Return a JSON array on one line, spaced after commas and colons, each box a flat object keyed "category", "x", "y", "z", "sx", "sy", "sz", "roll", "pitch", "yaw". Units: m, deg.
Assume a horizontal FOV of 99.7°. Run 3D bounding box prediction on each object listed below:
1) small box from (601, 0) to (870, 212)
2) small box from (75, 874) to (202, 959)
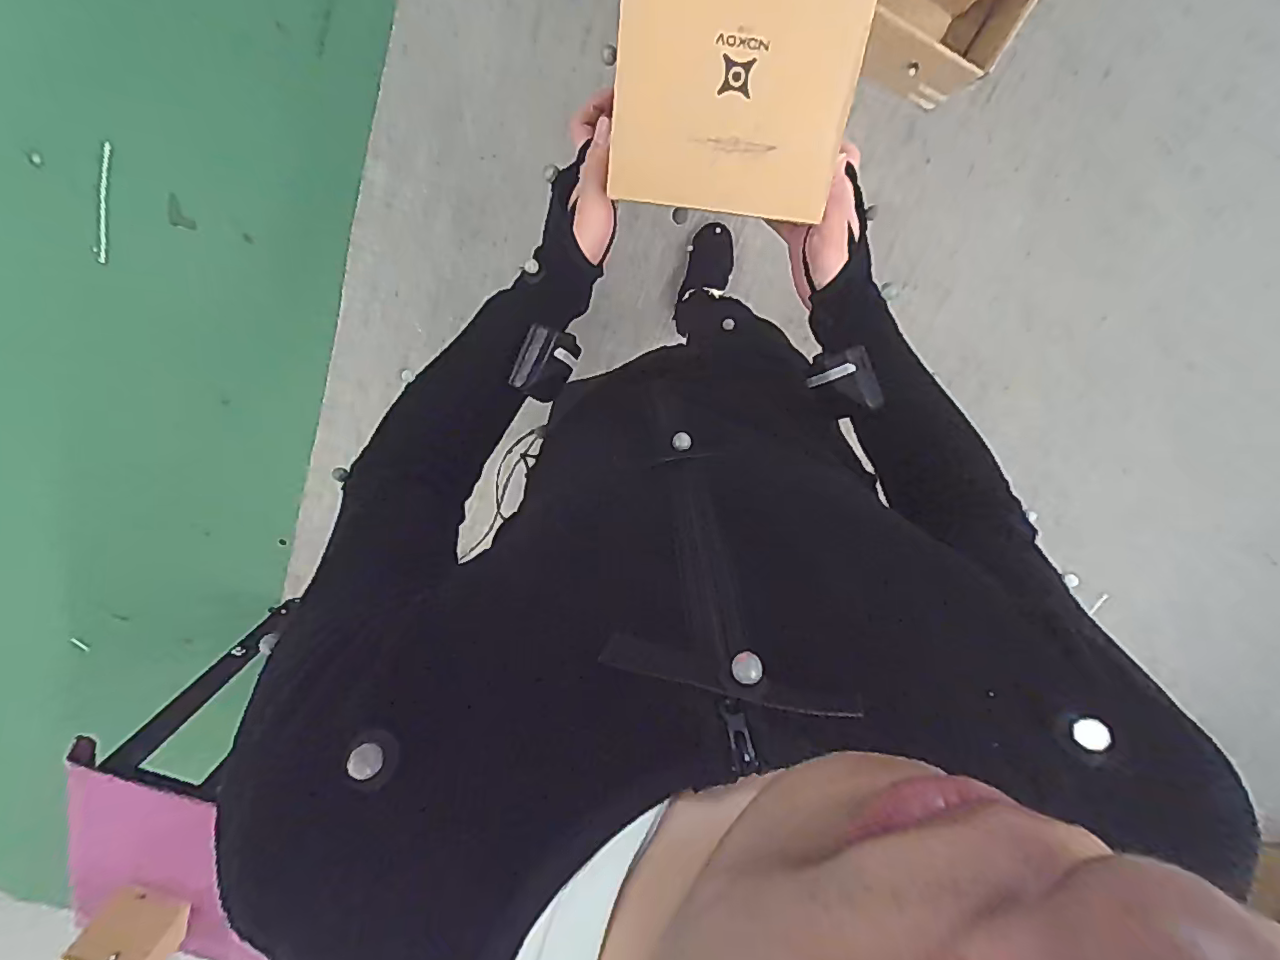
[{"category": "small box", "x": 0.063, "y": -0.322, "z": 0.429, "sx": 0.168, "sy": 0.176, "sz": 0.179, "roll": 7, "pitch": 119, "yaw": -2}, {"category": "small box", "x": -1.231, "y": 1.128, "z": 1.336, "sx": 0.168, "sy": 0.176, "sz": 0.179, "roll": 22, "pitch": 112, "yaw": -6}]
